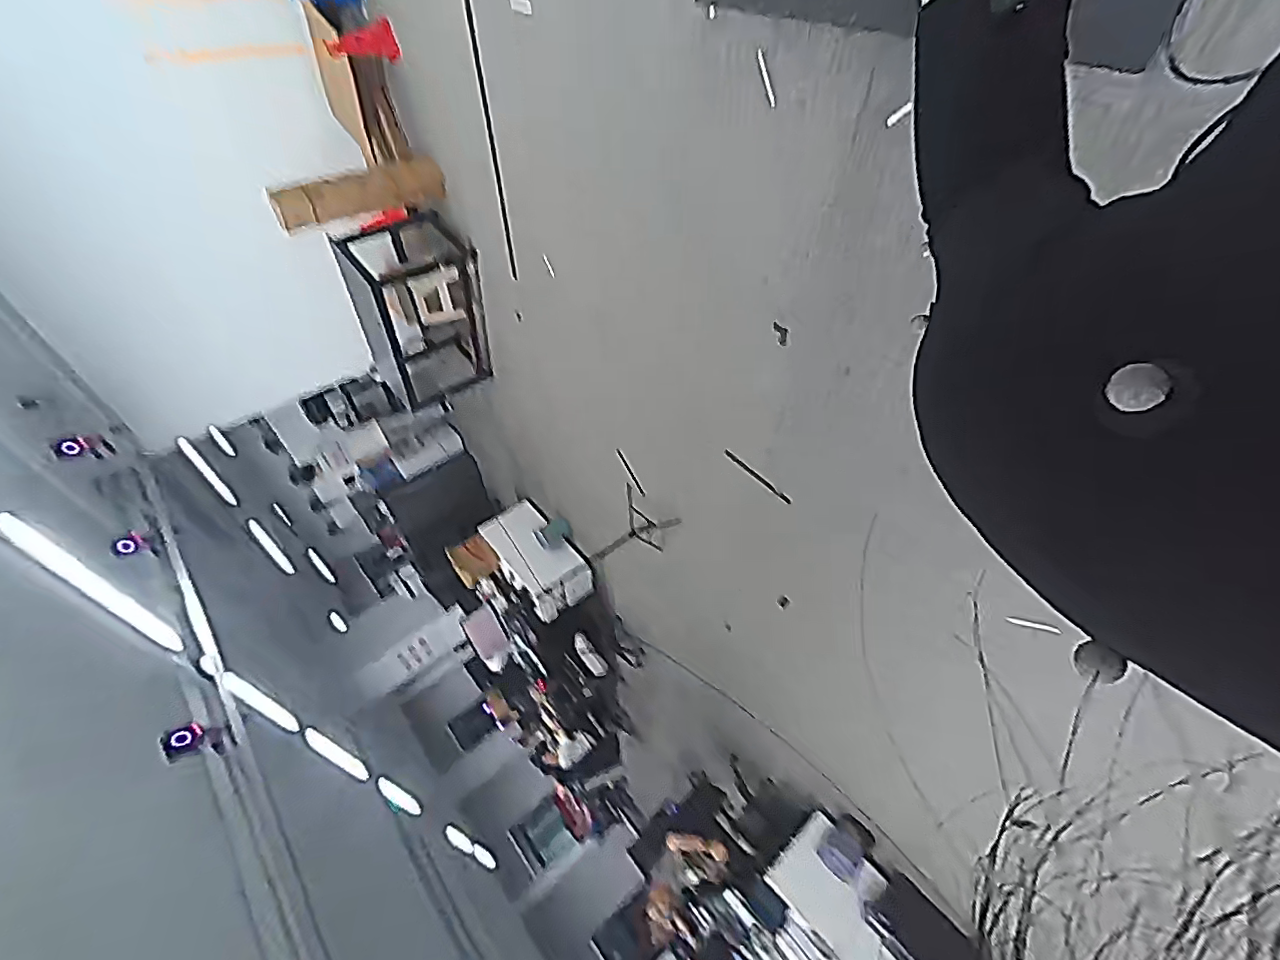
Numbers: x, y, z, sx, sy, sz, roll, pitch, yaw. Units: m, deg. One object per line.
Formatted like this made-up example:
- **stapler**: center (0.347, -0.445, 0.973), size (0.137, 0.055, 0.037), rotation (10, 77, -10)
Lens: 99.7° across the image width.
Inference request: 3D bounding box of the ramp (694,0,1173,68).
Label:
- **ramp**: center (0.533, -1.163, 1.018), size (0.991, 0.206, 0.509), rotation (40, 148, 30)
